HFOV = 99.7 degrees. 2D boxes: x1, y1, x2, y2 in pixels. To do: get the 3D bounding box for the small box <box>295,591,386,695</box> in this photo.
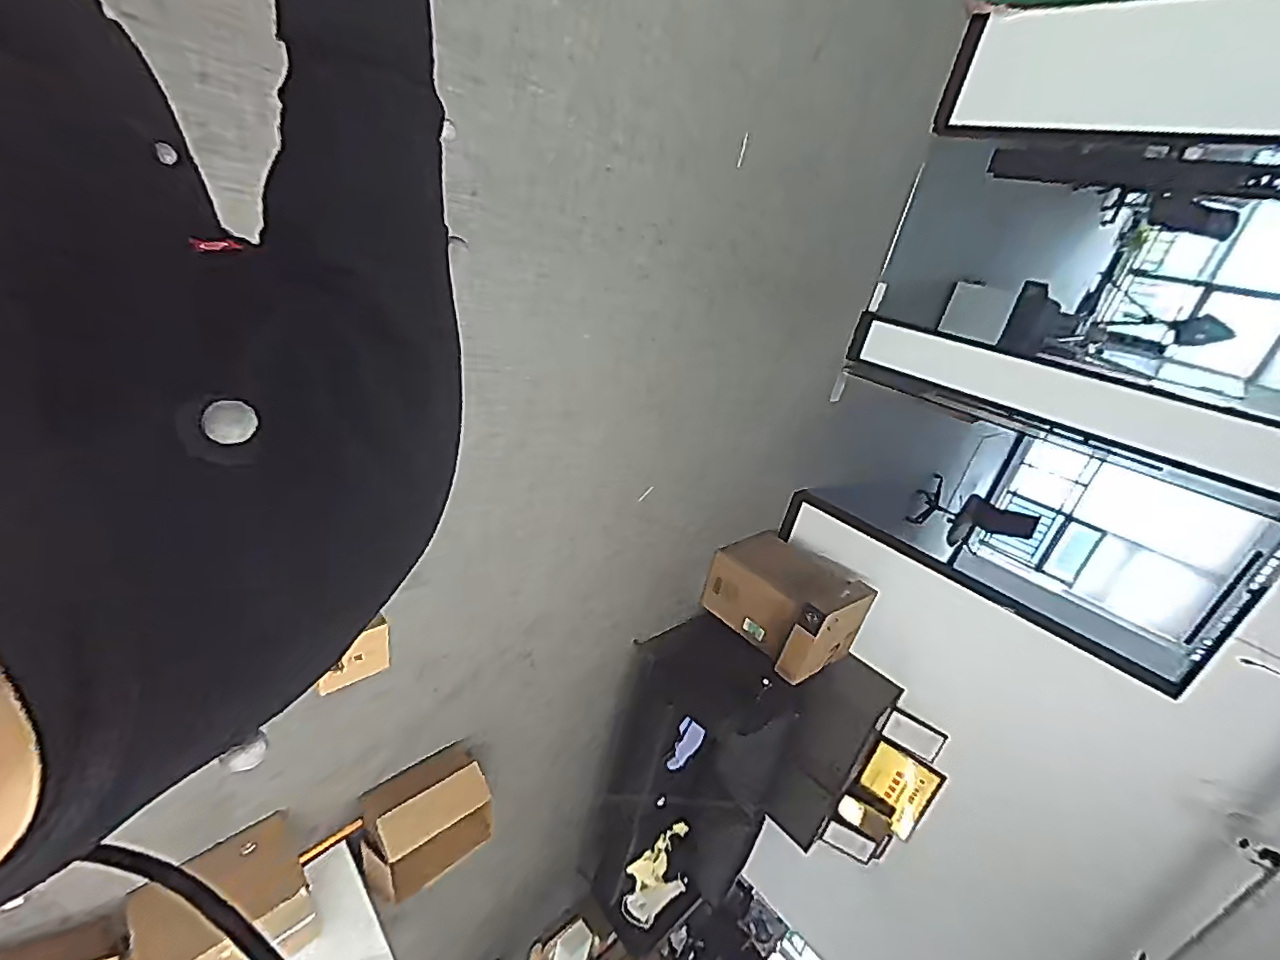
[{"bbox_3d":[-0.800,0.426,1.443,0.179,0.176,0.168,-15,127,-44],"label":"small box"}]
